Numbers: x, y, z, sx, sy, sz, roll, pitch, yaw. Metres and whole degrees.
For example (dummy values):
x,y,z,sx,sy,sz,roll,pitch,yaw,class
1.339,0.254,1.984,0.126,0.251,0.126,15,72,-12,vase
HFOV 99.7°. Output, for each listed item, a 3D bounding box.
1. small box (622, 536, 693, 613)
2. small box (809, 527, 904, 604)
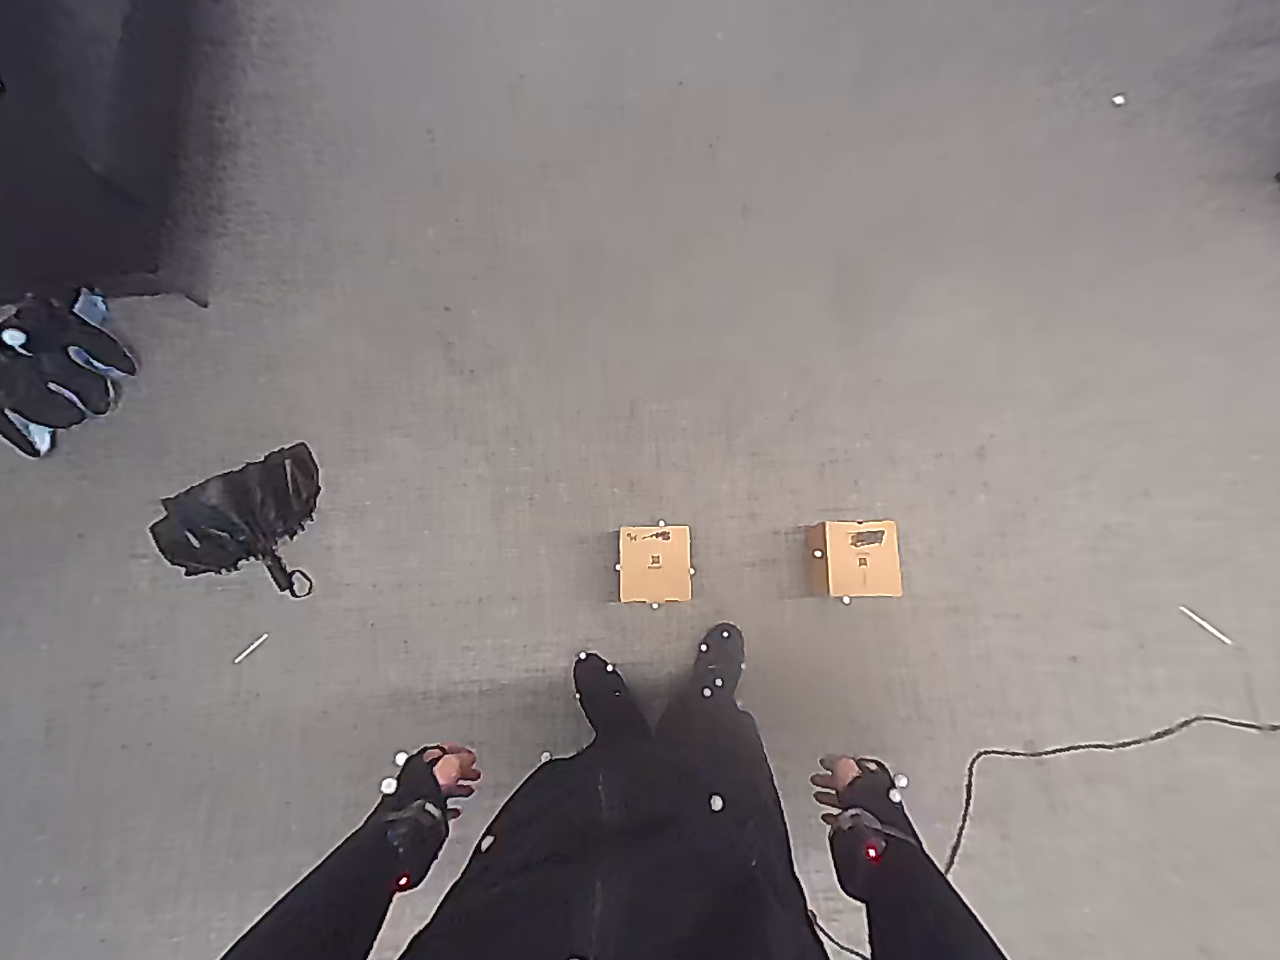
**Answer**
x,y,z,sx,sy,sz,roll,pitch,yaw,class
0.044,0.235,1.339,0.168,0.176,0.179,-2,78,2,small box
0.521,0.213,1.324,0.168,0.176,0.179,-2,79,3,small box
